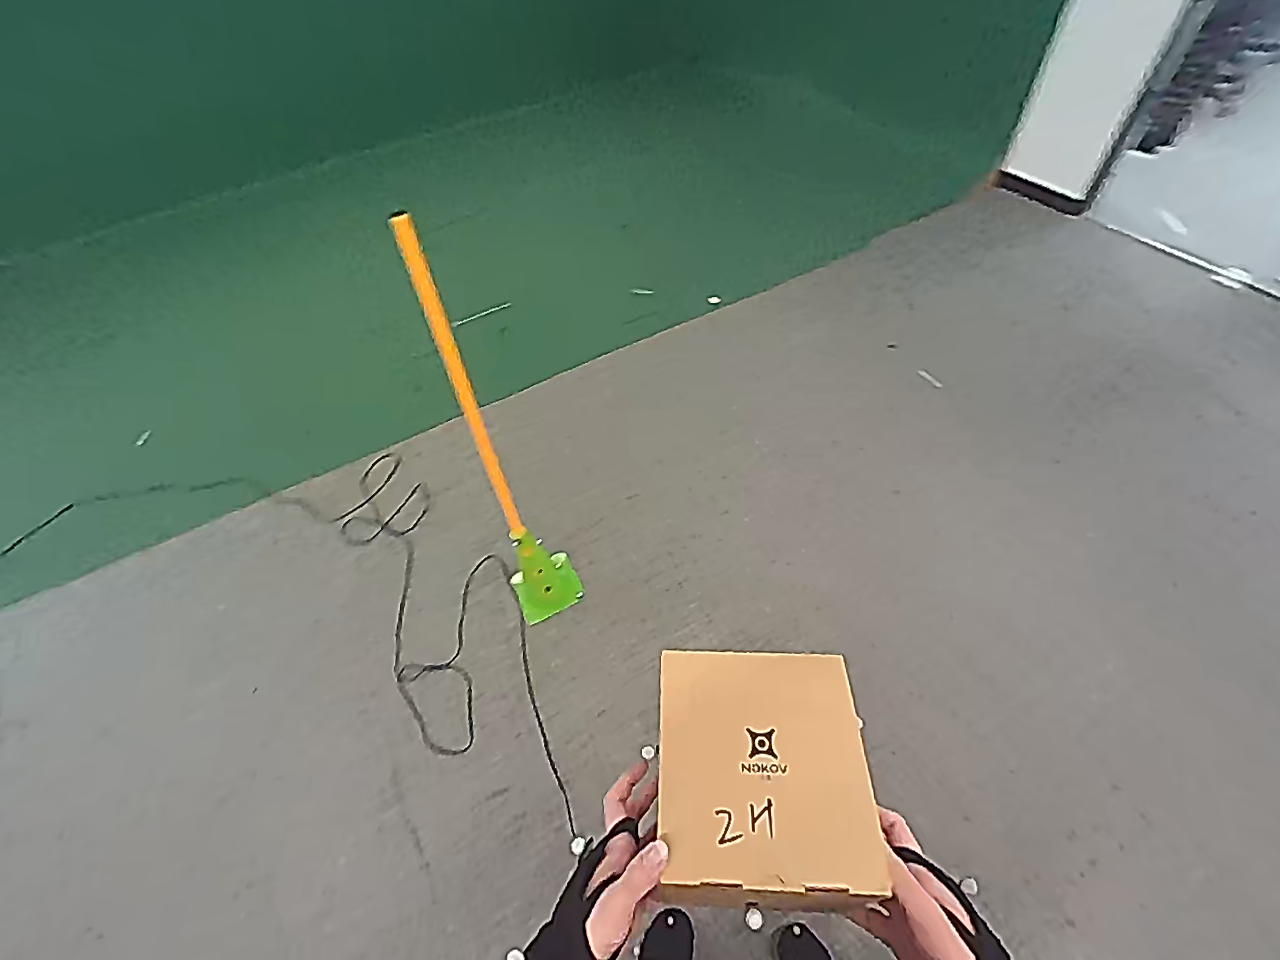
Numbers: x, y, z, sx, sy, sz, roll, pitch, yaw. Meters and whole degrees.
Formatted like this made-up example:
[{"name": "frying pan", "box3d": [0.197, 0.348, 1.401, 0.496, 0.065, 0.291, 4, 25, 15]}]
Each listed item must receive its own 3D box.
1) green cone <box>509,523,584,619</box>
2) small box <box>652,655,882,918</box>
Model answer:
[{"name": "green cone", "box3d": [-0.324, 0.238, 1.653, 0.202, 0.368, 0.200, -26, 54, -11]}, {"name": "small box", "box3d": [0.096, 0.283, 0.500, 0.168, 0.176, 0.179, 1, 48, 3]}]
